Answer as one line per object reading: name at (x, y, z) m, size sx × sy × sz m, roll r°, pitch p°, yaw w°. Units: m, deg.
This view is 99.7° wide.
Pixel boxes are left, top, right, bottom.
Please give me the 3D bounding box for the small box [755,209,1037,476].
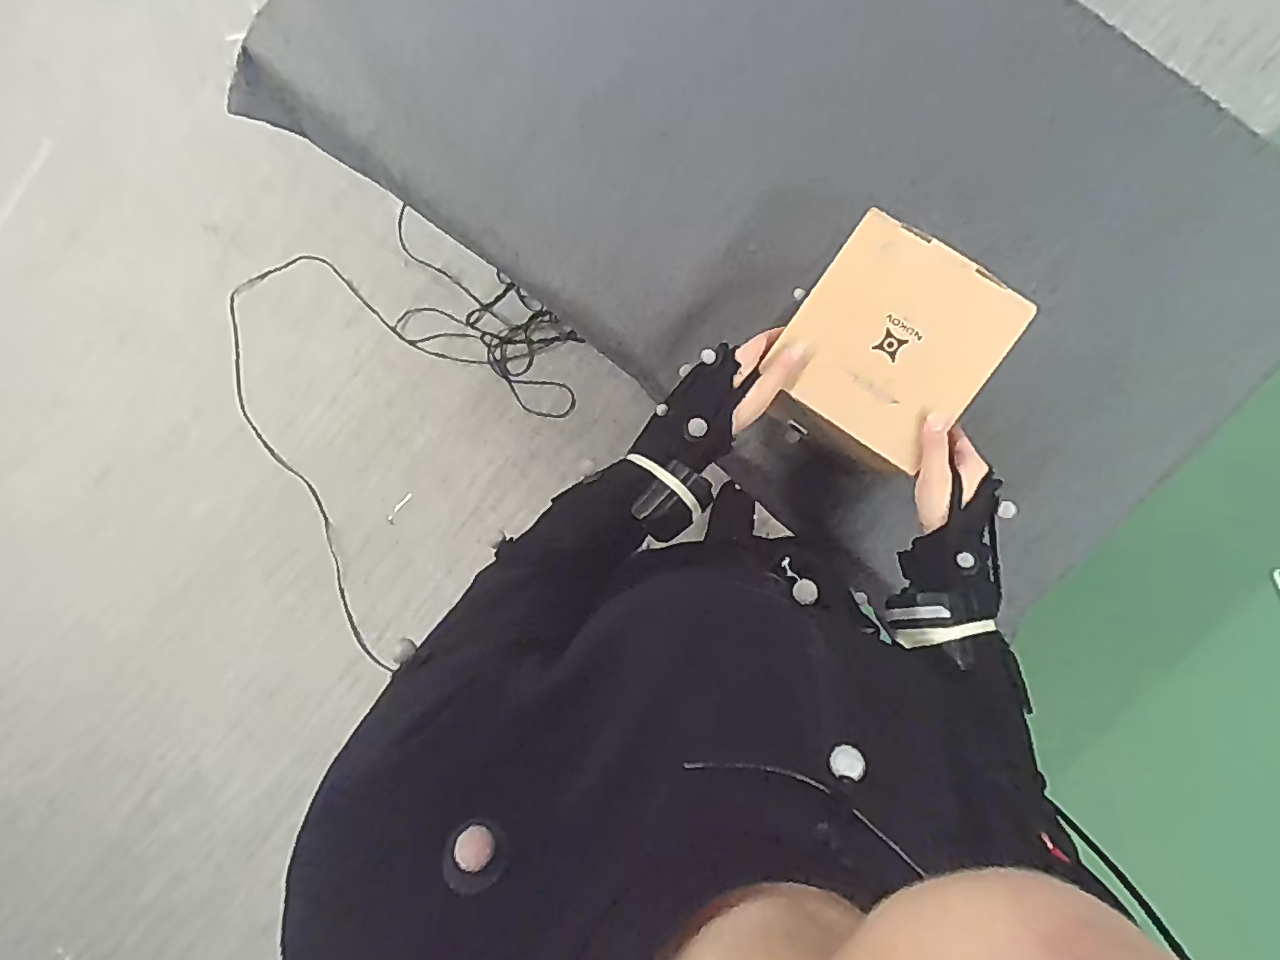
small box at (0.229, -0.120, 0.543) m, size 0.168 × 0.176 × 0.179 m, roll 34°, pitch 95°, yaw 7°
